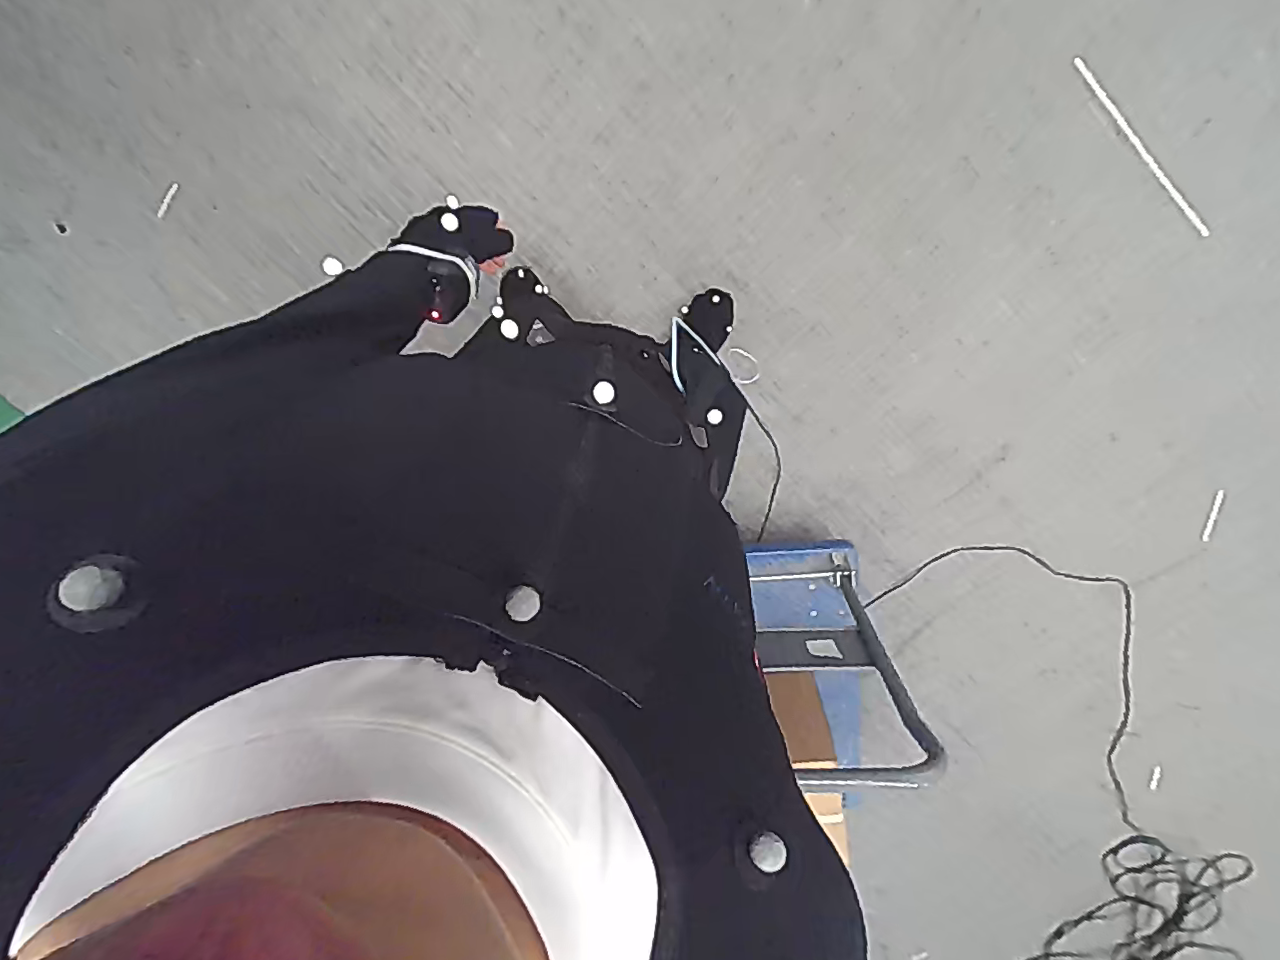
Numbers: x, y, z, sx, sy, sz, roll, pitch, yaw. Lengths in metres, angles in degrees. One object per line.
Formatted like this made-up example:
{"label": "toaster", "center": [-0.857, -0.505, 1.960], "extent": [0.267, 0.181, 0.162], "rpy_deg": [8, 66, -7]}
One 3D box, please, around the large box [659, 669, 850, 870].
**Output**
{"label": "large box", "center": [0.278, 0.728, 1.387], "extent": [0.408, 0.320, 0.320], "rpy_deg": [-10, 109, 8]}
